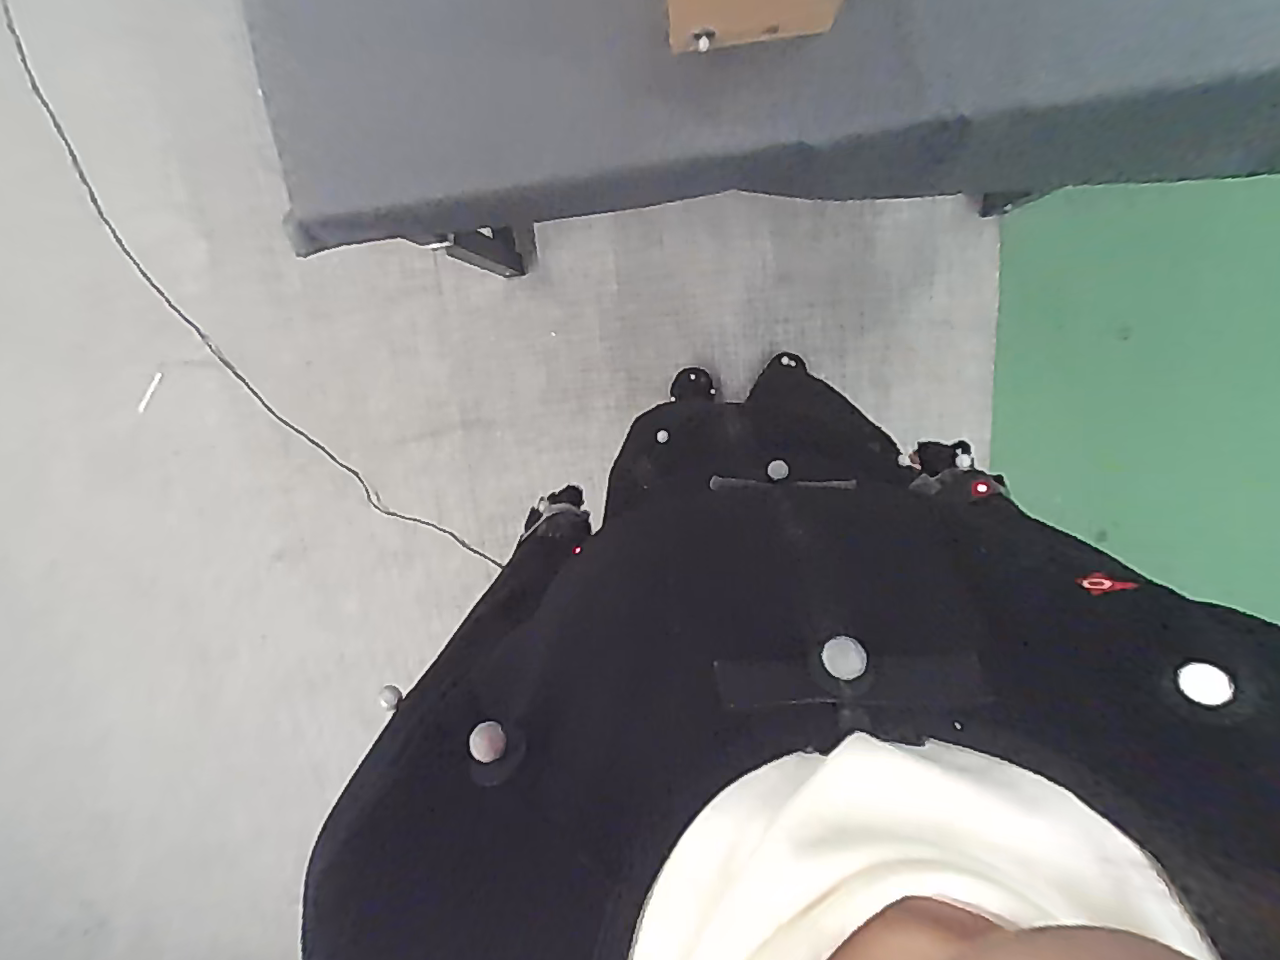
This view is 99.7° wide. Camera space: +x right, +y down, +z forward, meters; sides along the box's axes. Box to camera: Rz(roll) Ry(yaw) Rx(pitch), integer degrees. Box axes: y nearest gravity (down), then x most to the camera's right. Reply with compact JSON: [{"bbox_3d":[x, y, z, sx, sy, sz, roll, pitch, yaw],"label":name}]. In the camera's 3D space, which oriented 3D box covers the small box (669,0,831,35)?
[{"bbox_3d":[0.103,-0.536,0.478,0.168,0.176,0.179,-3,102,5],"label":"small box"}]
